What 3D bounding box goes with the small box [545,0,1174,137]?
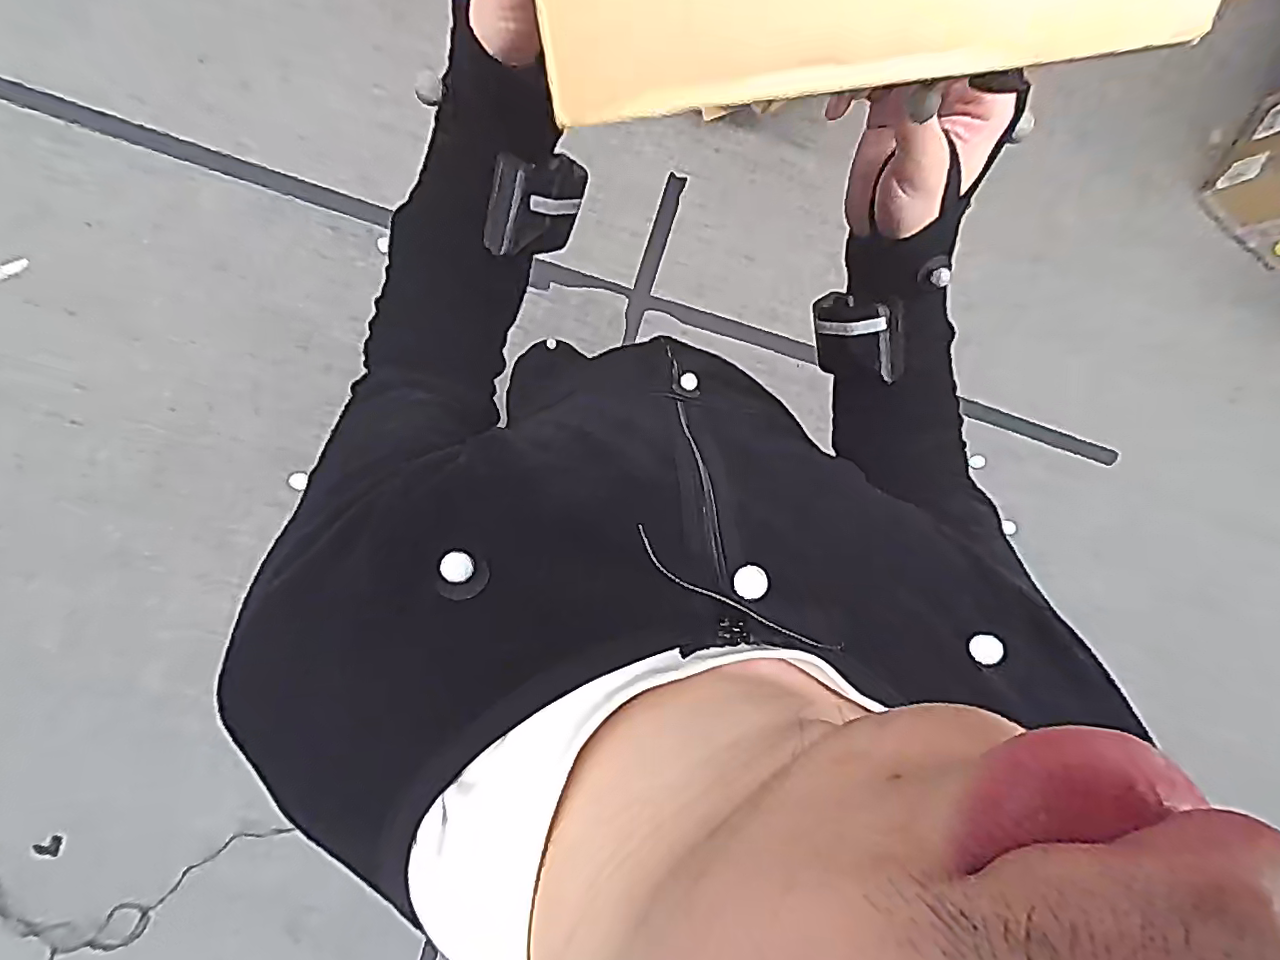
[{"bbox_3d":[0.058,-0.229,0.183,0.179,0.176,0.168,-3,125,9],"label":"small box"}]
